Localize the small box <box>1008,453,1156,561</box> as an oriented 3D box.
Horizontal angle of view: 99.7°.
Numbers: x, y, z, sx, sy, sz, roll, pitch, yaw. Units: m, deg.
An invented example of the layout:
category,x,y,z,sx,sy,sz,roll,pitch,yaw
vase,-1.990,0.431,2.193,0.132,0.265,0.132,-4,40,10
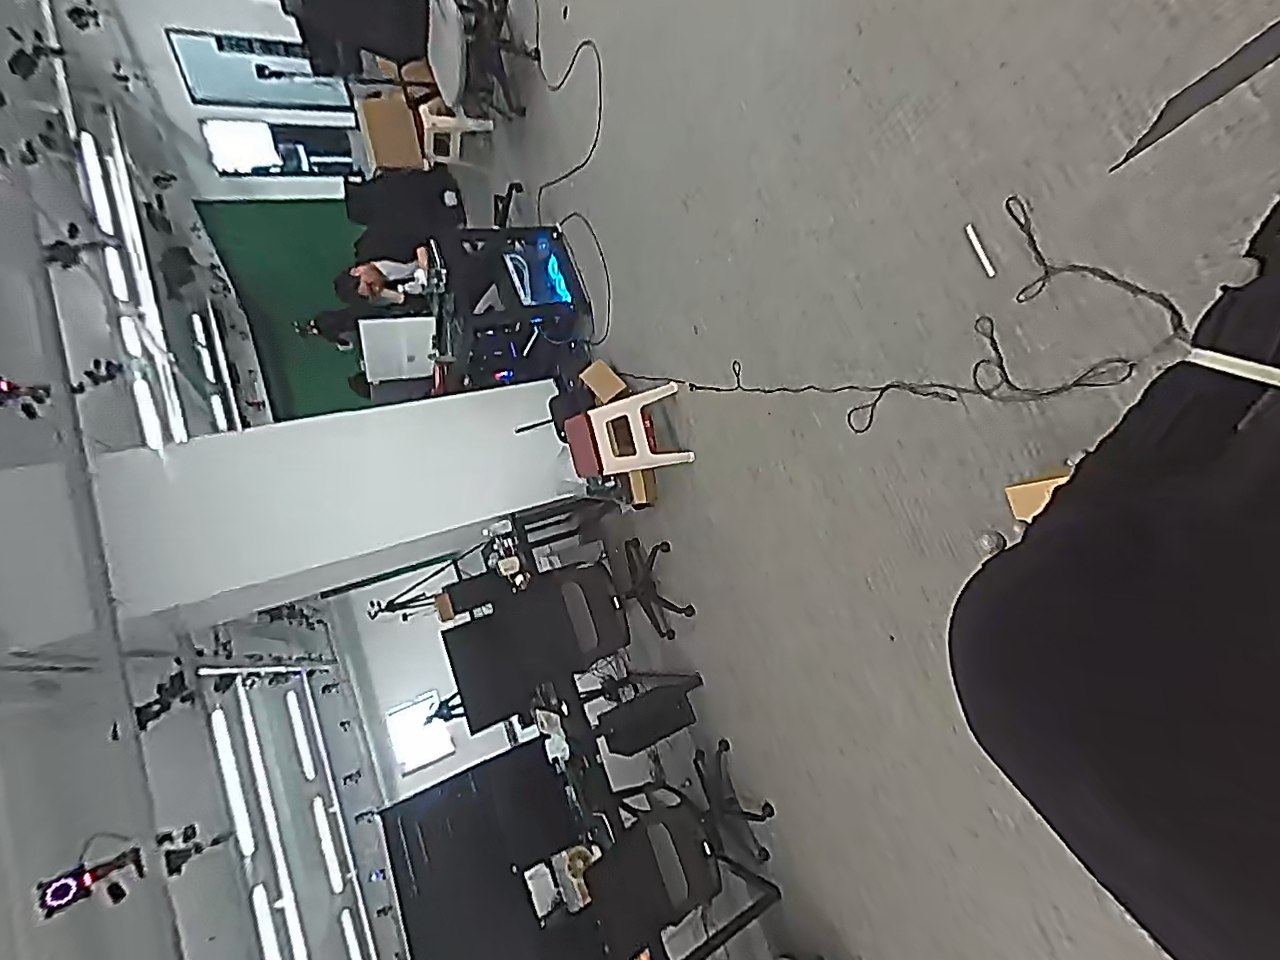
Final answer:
category,x,y,z,sx,sy,sz,roll,pitch,yaw
small box,0.941,0.059,1.151,0.168,0.176,0.179,-26,81,63
